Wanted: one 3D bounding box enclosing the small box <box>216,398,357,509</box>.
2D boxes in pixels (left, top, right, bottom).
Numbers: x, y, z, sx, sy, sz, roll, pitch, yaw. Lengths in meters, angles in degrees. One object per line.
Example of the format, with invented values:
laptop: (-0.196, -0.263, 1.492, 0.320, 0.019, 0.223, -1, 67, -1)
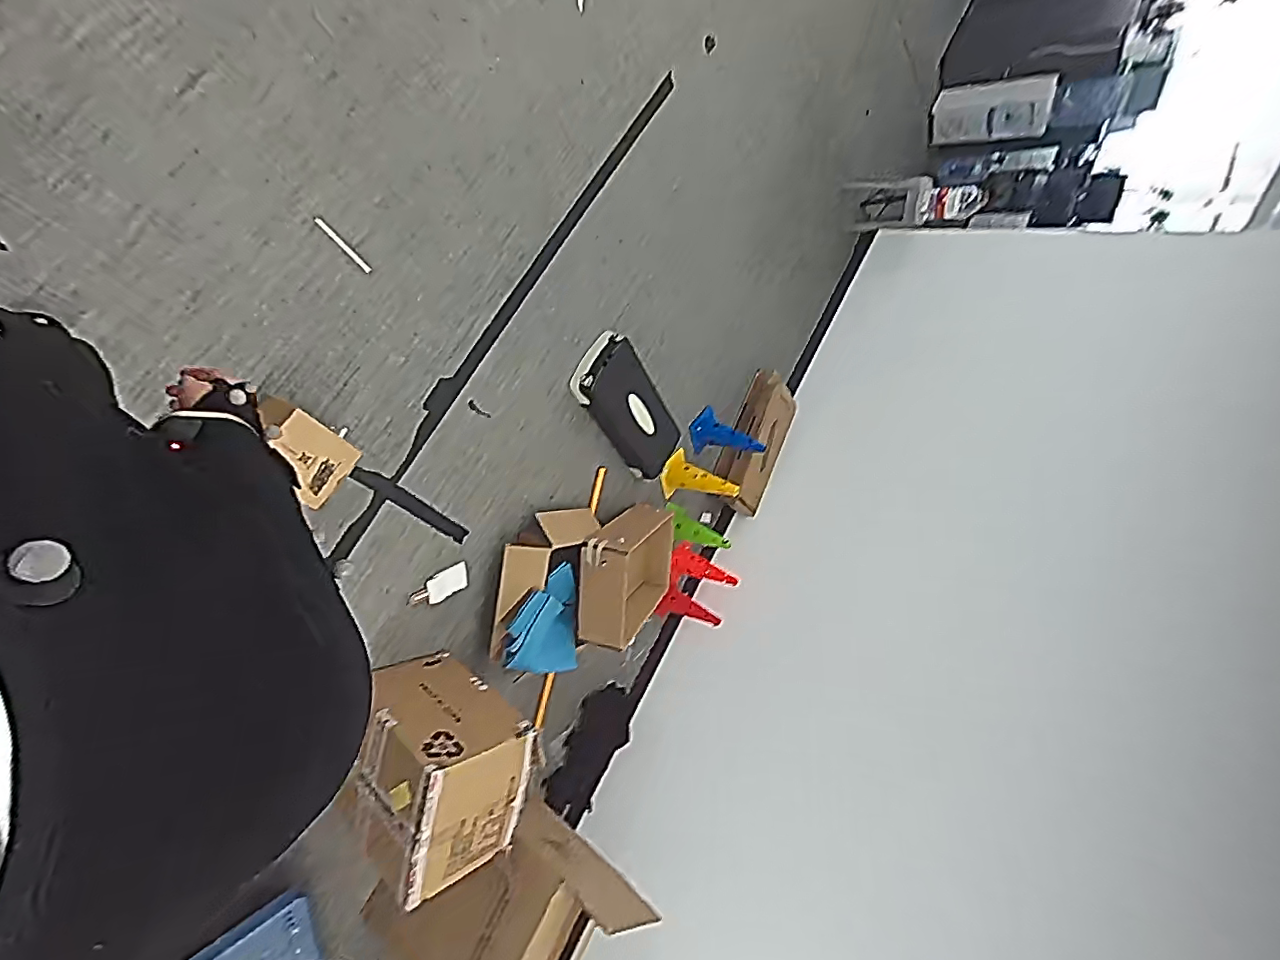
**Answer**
small box: (-0.792, -0.065, 1.214, 0.168, 0.176, 0.179, -58, 143, -18)
